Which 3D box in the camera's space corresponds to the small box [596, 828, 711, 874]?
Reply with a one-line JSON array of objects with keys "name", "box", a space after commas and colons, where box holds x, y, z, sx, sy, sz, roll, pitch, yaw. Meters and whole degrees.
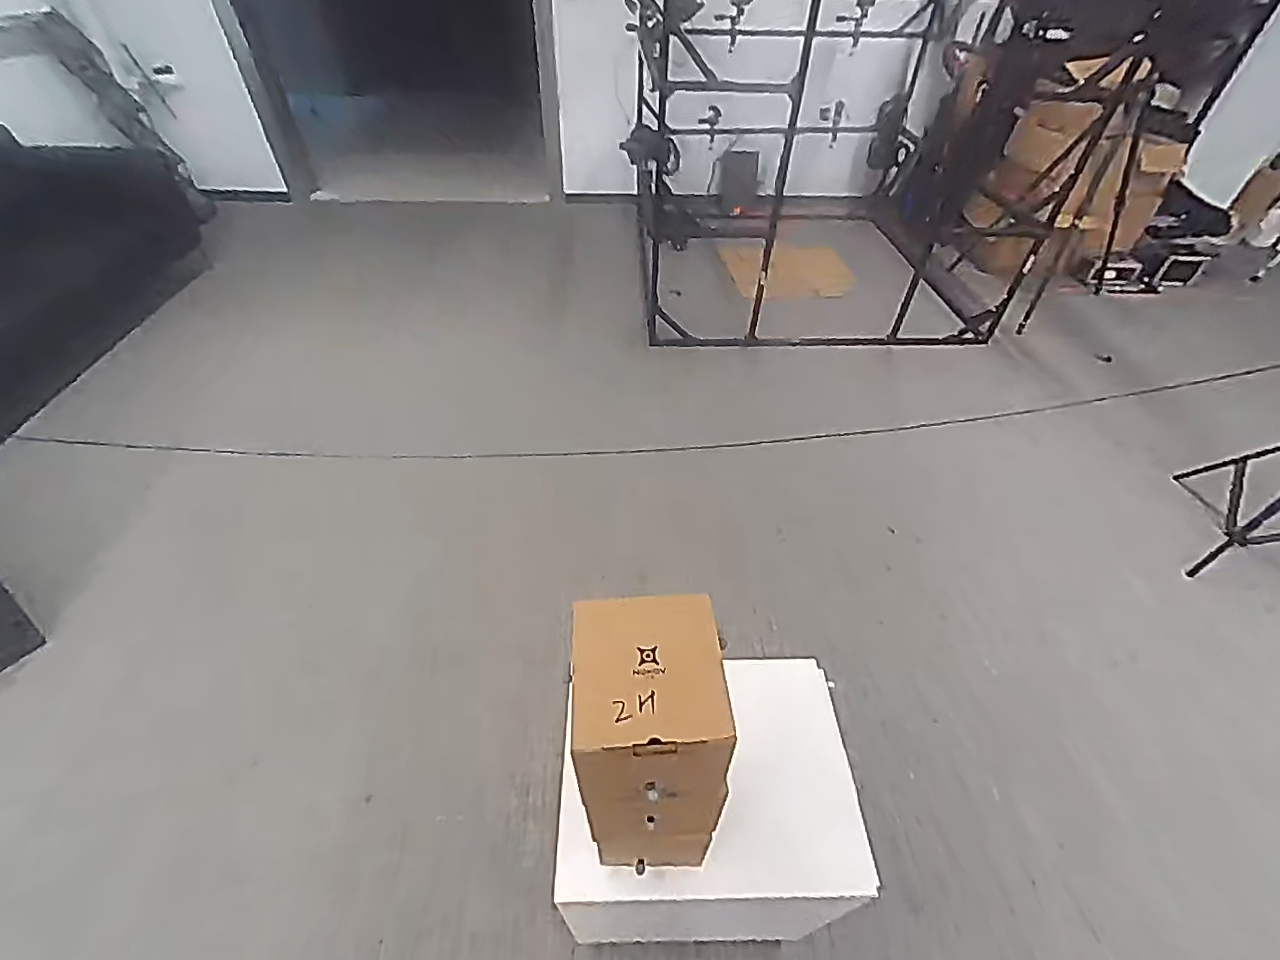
[{"name": "small box", "box": [0.017, 0.502, 0.863, 0.168, 0.176, 0.179, 1, 44, -1]}]

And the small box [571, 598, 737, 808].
[{"name": "small box", "box": [0.009, 0.261, 0.640, 0.168, 0.176, 0.179, -2, 43, -3]}]

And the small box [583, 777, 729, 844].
[{"name": "small box", "box": [0.014, 0.384, 0.749, 0.179, 0.176, 0.168, -3, 43, -3]}]
